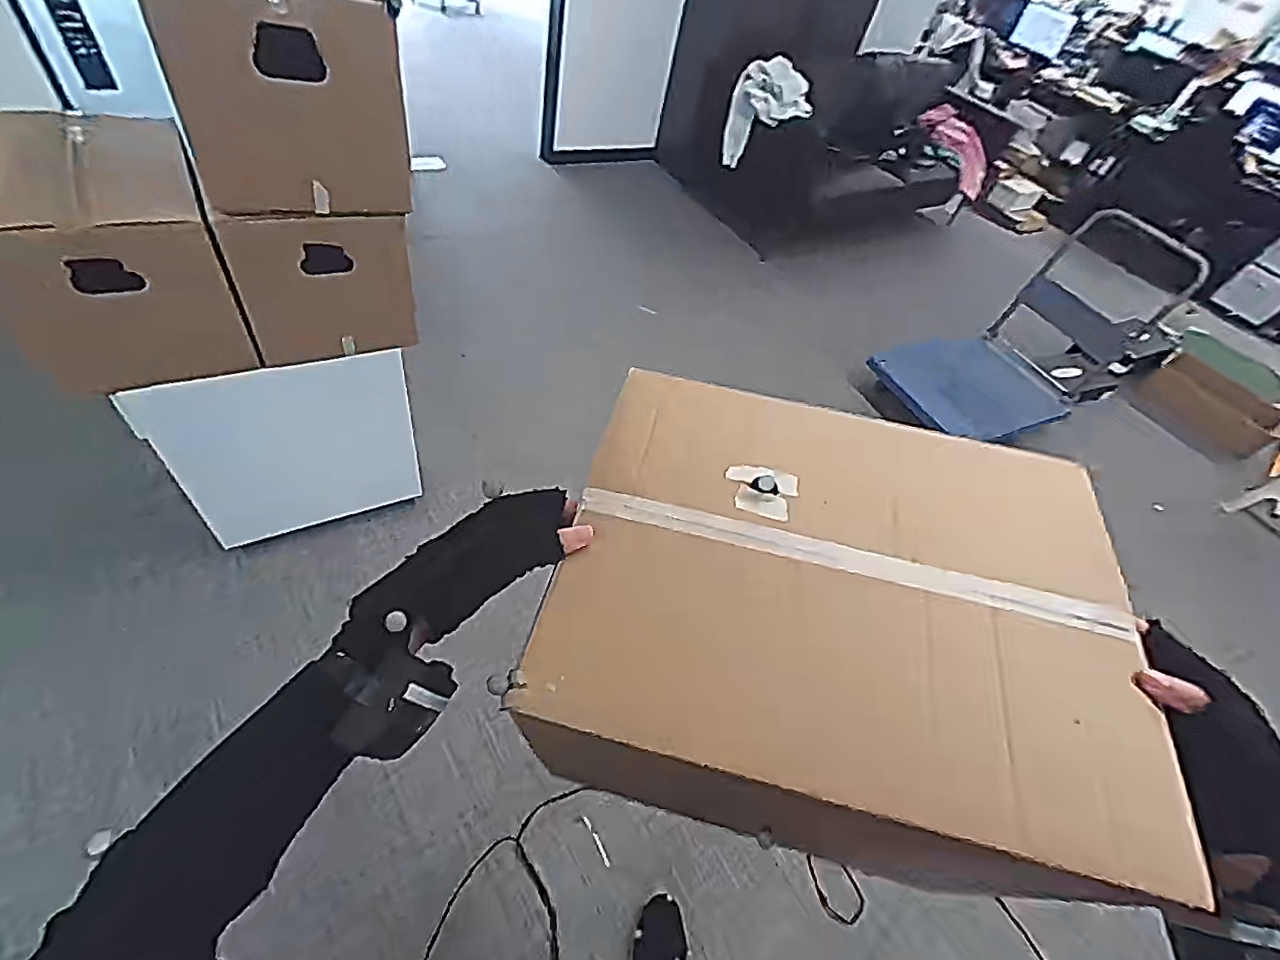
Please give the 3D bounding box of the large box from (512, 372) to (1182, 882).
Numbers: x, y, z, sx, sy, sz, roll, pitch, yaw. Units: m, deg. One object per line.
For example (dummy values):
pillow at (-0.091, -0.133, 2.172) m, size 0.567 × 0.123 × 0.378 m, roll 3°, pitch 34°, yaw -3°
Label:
large box at (0.144, 0.143, 0.525) m, size 0.408 × 0.320 × 0.320 m, roll 13°, pitch 56°, yaw 7°
